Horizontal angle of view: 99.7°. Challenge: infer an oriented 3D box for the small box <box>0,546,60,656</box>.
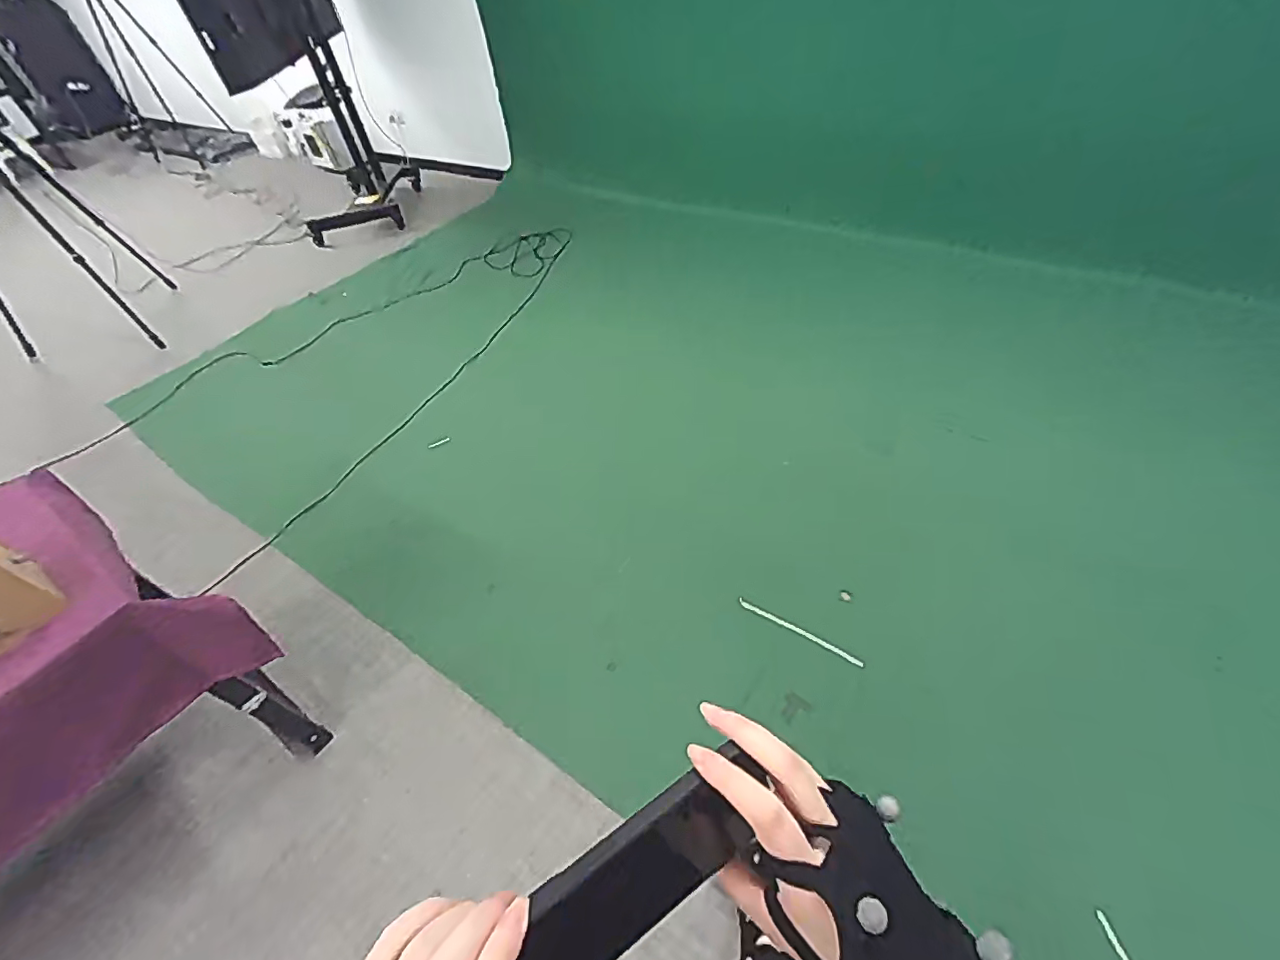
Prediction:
[{"bbox_3d":[-1.116,0.196,0.878,0.168,0.176,0.179,23,55,26],"label":"small box"}]
